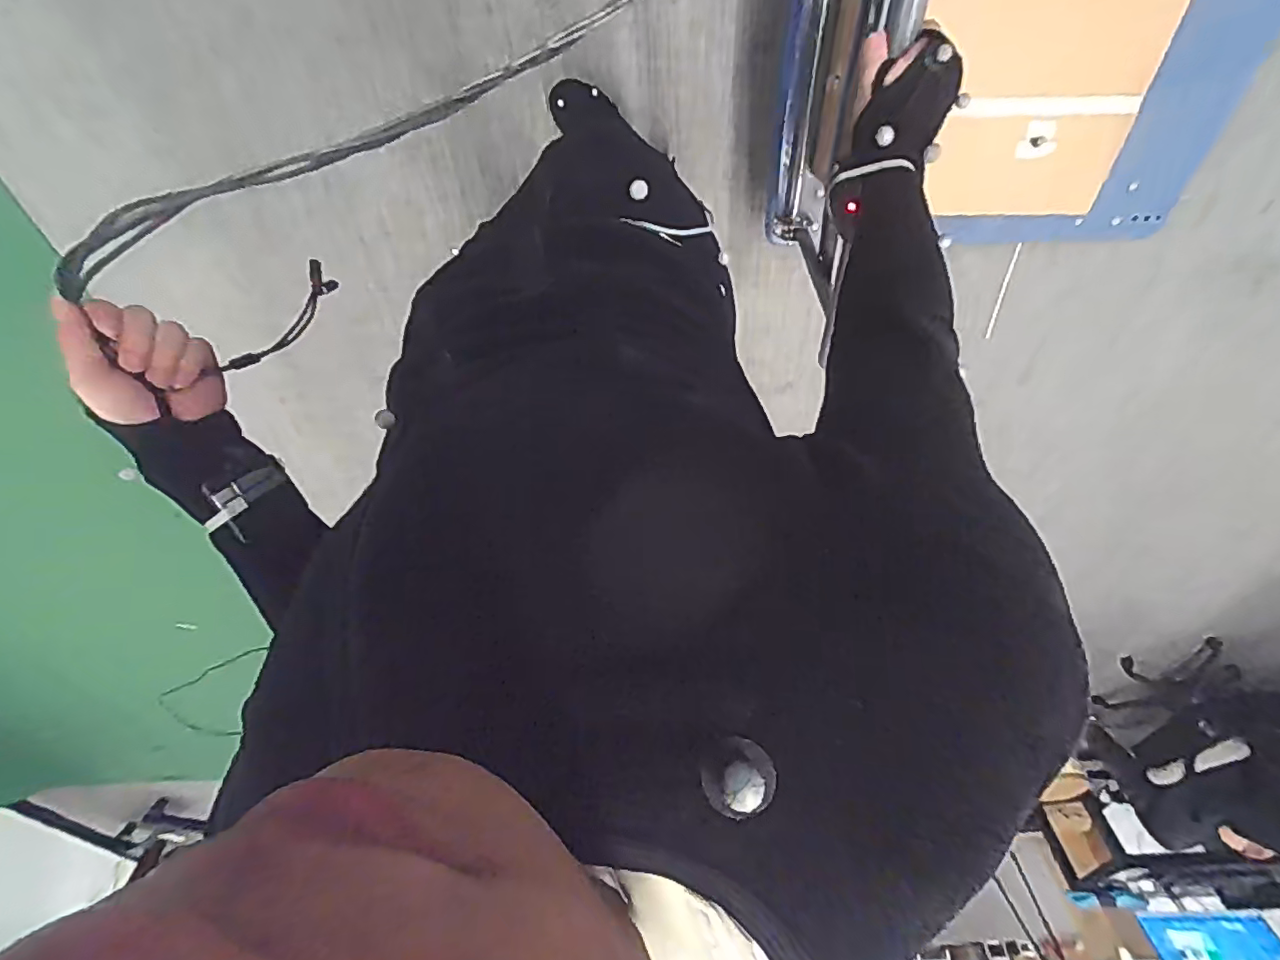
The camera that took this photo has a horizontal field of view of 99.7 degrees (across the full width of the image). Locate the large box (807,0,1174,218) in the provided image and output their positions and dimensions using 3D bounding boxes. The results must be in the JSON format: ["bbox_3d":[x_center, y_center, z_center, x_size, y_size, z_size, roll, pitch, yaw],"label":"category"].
[{"bbox_3d":[0.547,-0.669,0.947,0.408,0.320,0.320,0,131,1],"label":"large box"}]
